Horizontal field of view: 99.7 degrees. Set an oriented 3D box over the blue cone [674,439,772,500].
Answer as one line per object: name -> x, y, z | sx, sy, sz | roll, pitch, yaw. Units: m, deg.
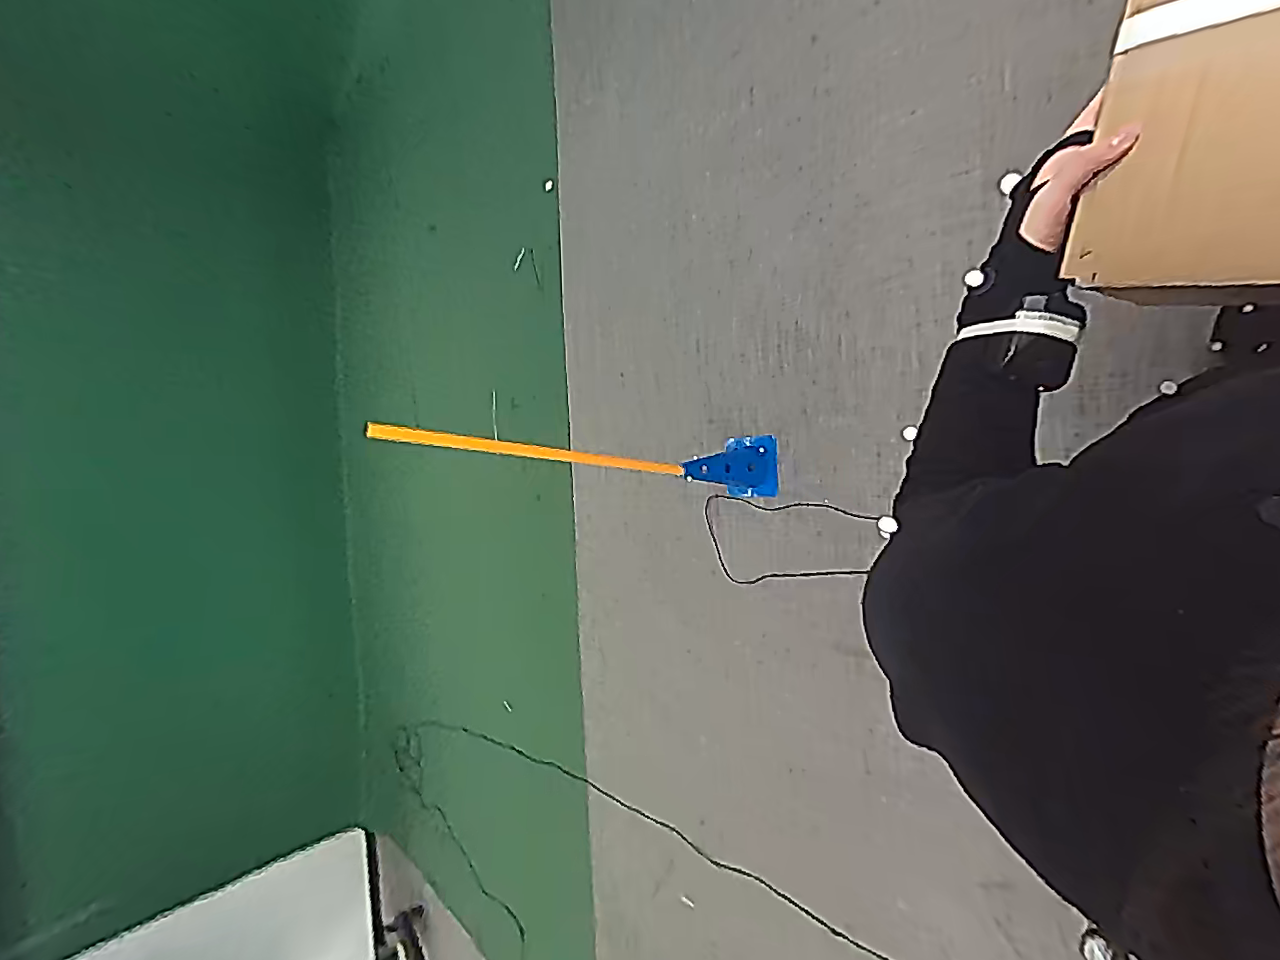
blue cone -> 0.233, -0.028, 1.661 | 0.192, 0.380, 0.193 | -4, 89, 45
